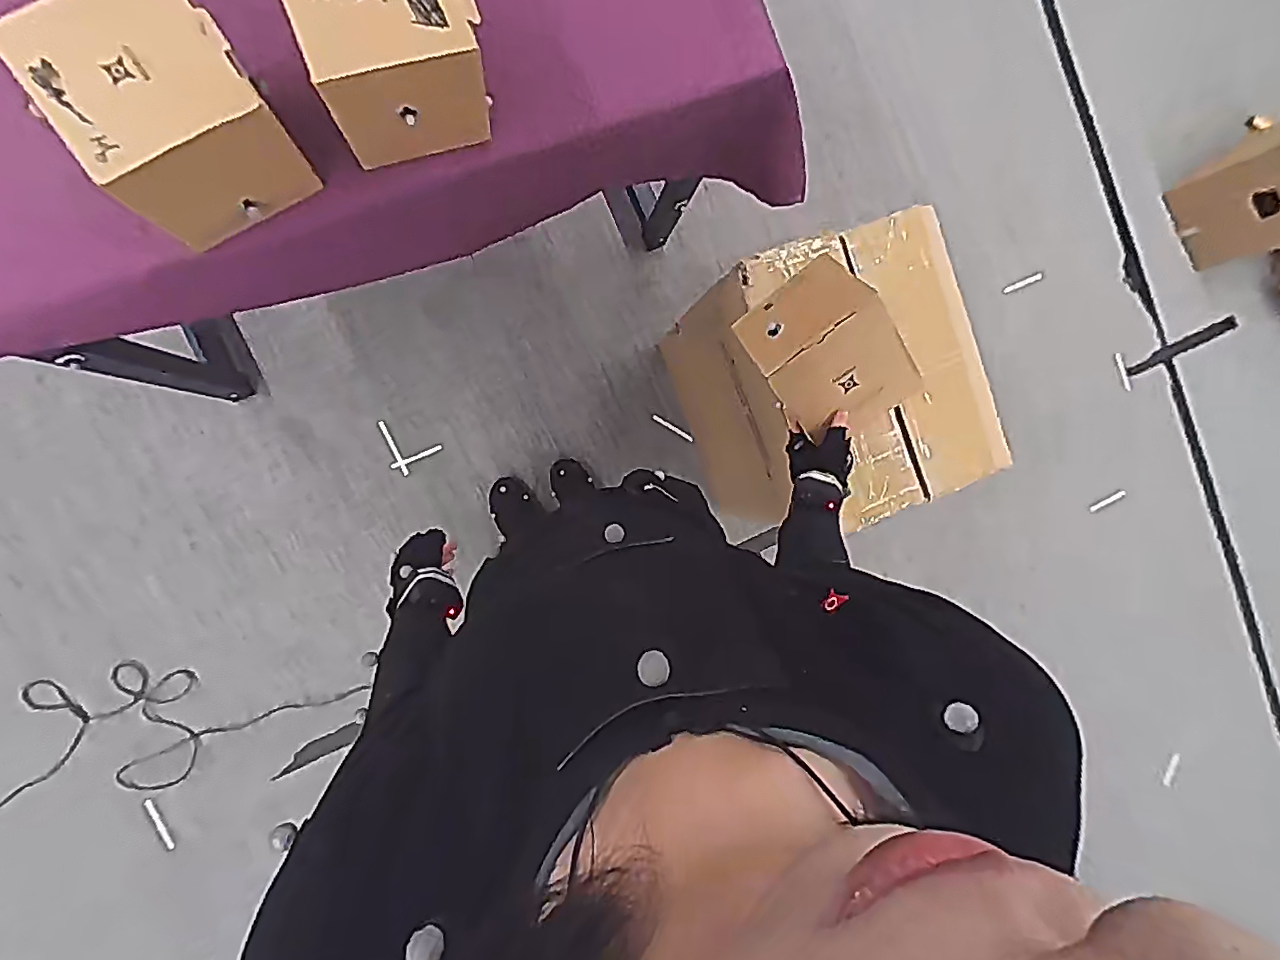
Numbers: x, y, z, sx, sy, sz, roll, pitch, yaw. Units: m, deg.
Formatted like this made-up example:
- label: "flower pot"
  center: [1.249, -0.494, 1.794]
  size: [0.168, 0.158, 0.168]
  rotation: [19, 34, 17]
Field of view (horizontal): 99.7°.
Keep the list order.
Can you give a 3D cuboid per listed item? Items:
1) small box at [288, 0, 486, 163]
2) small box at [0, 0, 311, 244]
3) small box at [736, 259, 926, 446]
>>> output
- label: "small box"
  center: [-0.291, -0.515, 0.640]
  size: [0.179, 0.176, 0.168]
  rotation: [-20, 94, -9]
- label: "small box"
  center: [-0.505, -0.402, 0.601]
  size: [0.179, 0.176, 0.168]
  rotation: [-35, 97, -10]
- label: "small box"
  center: [0.263, -0.188, 0.773]
  size: [0.168, 0.176, 0.179]
  rotation: [-37, 127, 19]
